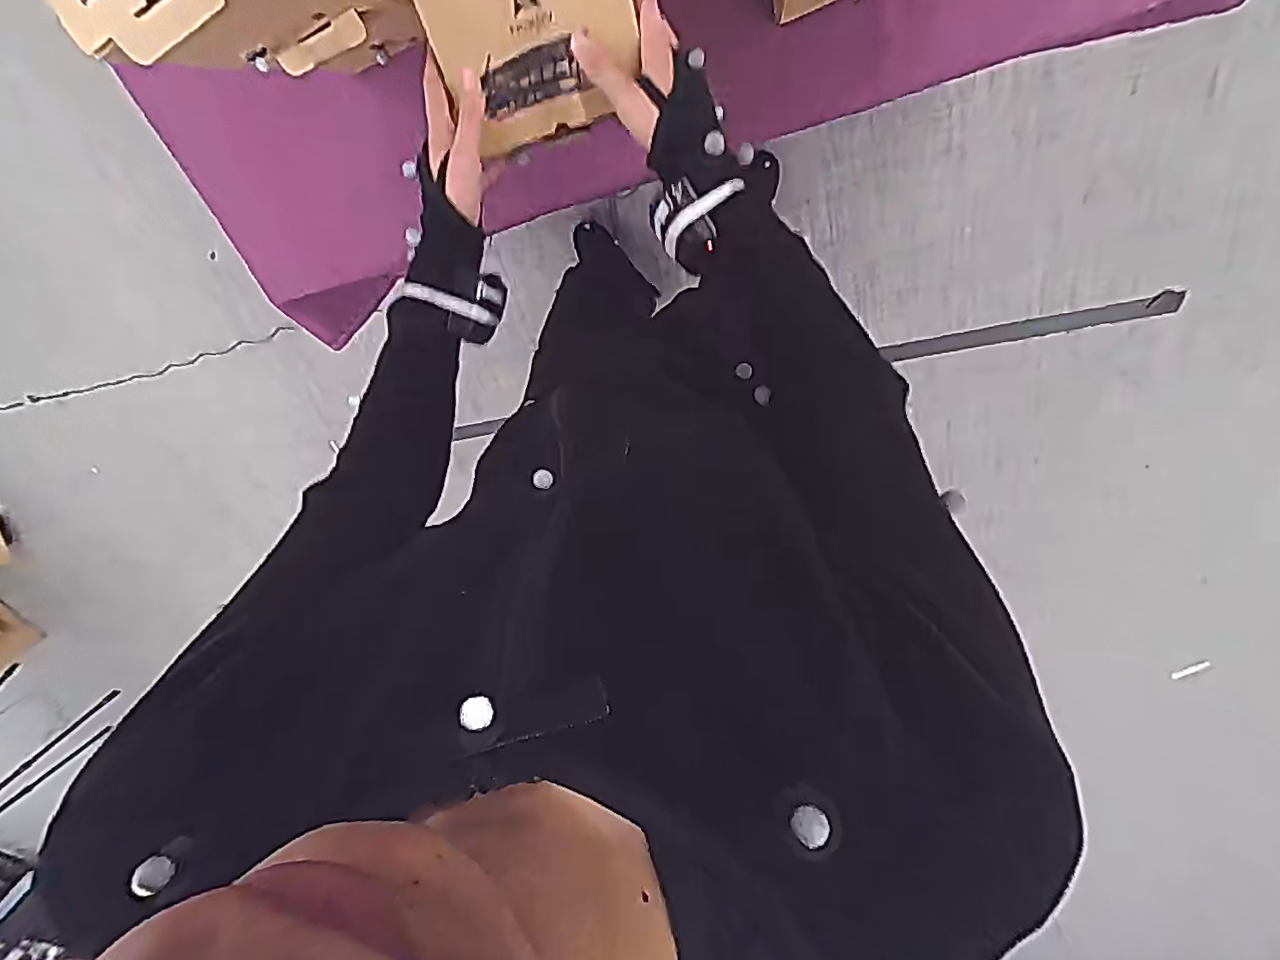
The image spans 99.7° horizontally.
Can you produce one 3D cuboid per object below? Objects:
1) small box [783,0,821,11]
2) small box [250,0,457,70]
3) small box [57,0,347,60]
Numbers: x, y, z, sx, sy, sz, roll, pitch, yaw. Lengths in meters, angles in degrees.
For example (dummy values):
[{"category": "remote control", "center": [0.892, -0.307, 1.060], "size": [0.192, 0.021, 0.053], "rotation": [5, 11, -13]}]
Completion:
[{"category": "small box", "center": [0.184, -0.527, 0.436], "size": [0.168, 0.176, 0.179], "rotation": [-11, 122, 19]}, {"category": "small box", "center": [-0.316, -0.538, 0.532], "size": [0.168, 0.176, 0.179], "rotation": [-9, 122, 18]}, {"category": "small box", "center": [-0.346, -0.446, 0.400], "size": [0.168, 0.176, 0.179], "rotation": [-13, 120, 20]}]
